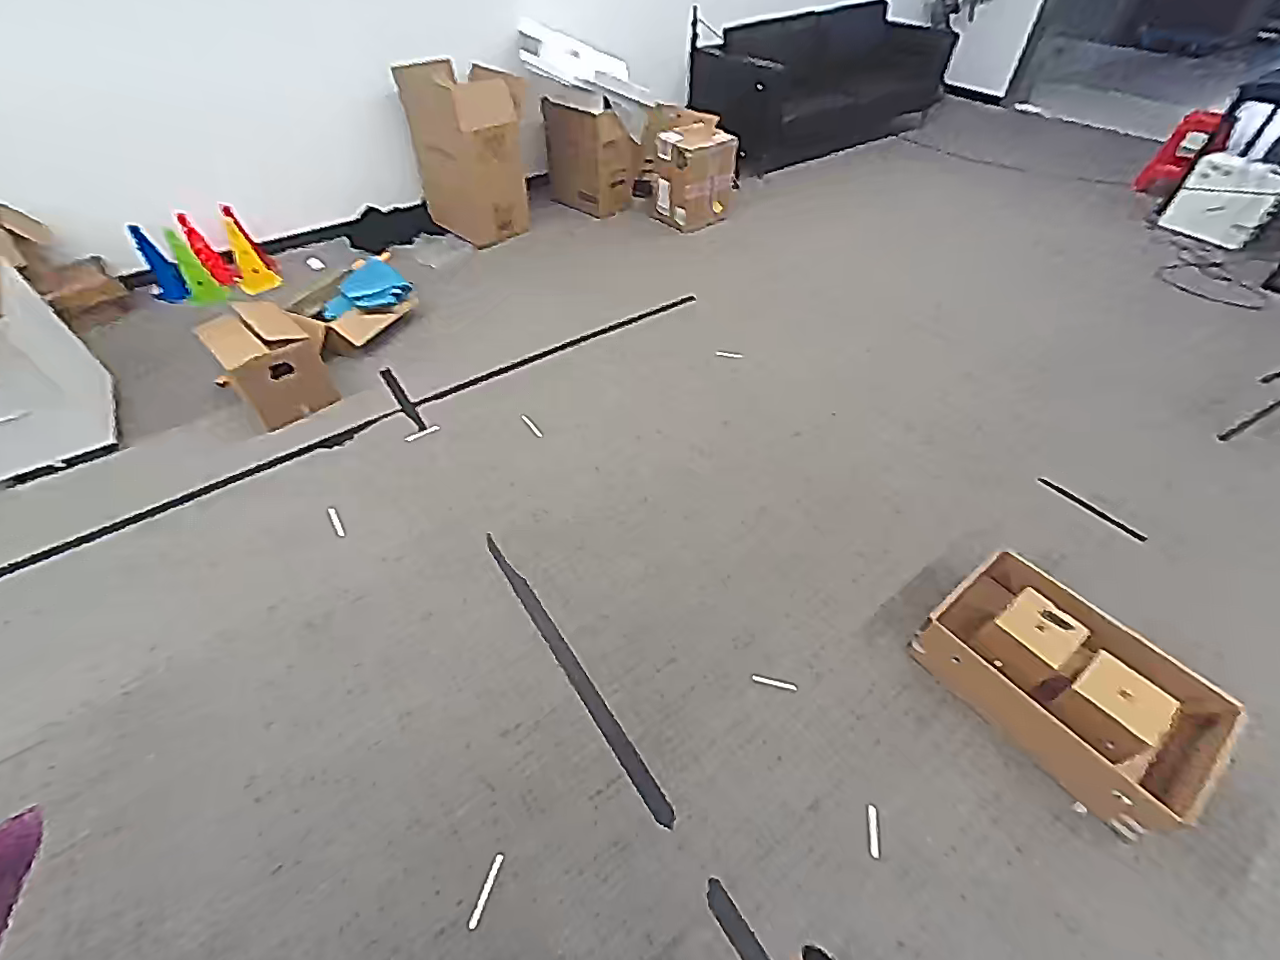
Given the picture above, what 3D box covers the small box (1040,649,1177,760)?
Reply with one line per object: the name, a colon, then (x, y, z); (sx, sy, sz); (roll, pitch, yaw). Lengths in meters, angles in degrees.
small box: (1.162, 0.568, 1.353); (0.168, 0.176, 0.179); (-30, 52, -25)
